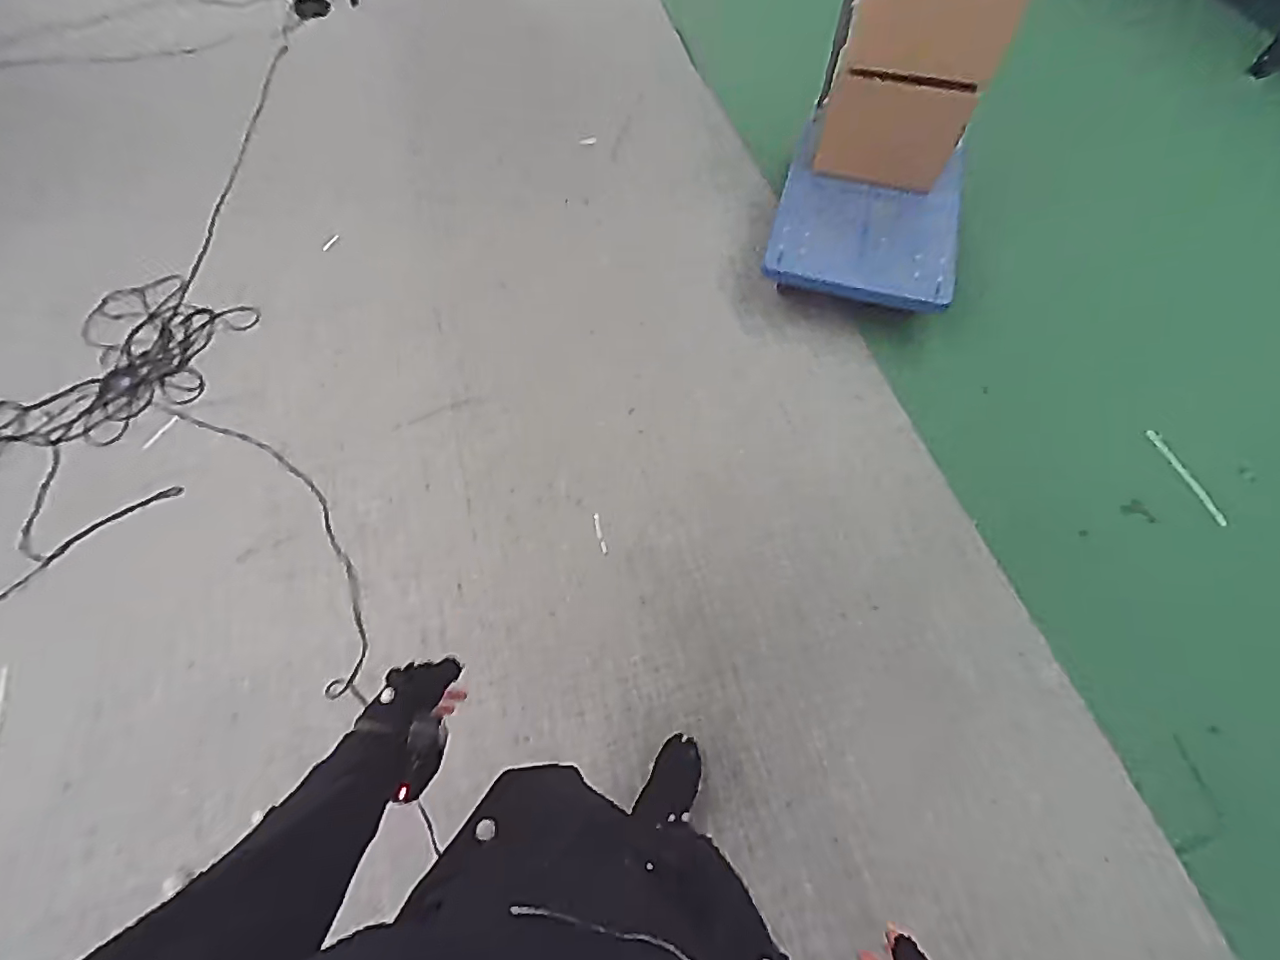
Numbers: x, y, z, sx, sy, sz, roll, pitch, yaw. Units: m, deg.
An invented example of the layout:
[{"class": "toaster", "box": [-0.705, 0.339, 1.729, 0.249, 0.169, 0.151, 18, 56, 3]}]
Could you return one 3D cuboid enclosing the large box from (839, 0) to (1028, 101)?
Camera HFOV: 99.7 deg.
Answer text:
[{"class": "large box", "box": [0.810, -1.319, 1.511, 0.408, 0.320, 0.320, 14, 59, 7]}]
